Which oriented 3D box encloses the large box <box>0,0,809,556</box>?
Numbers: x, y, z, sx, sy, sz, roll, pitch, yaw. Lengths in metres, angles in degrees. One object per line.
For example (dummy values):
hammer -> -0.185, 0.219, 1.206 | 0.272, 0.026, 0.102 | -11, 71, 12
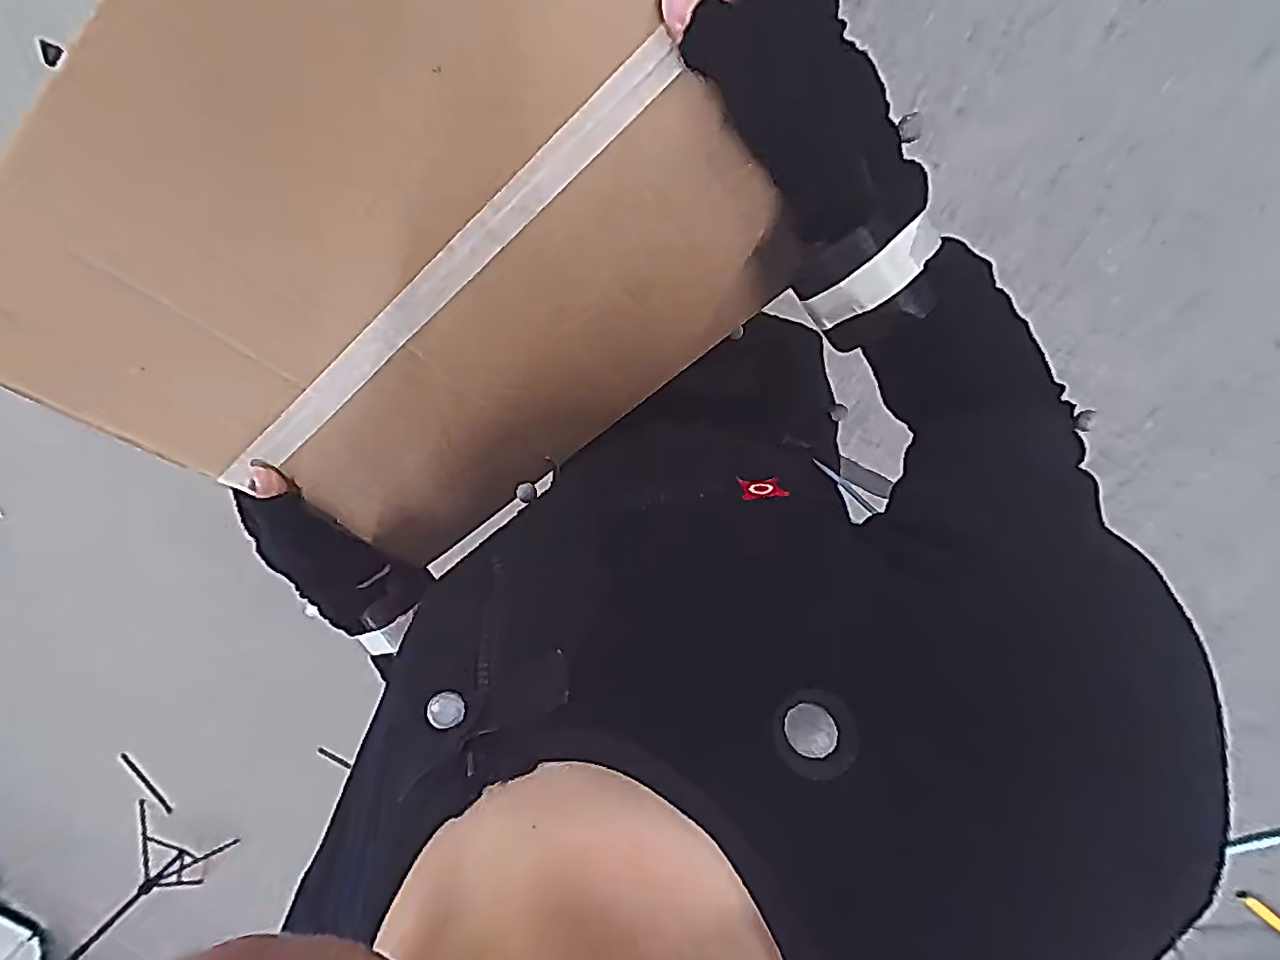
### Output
large box -> -0.155, -0.214, 0.435 | 0.408, 0.320, 0.320 | -36, 132, 17
